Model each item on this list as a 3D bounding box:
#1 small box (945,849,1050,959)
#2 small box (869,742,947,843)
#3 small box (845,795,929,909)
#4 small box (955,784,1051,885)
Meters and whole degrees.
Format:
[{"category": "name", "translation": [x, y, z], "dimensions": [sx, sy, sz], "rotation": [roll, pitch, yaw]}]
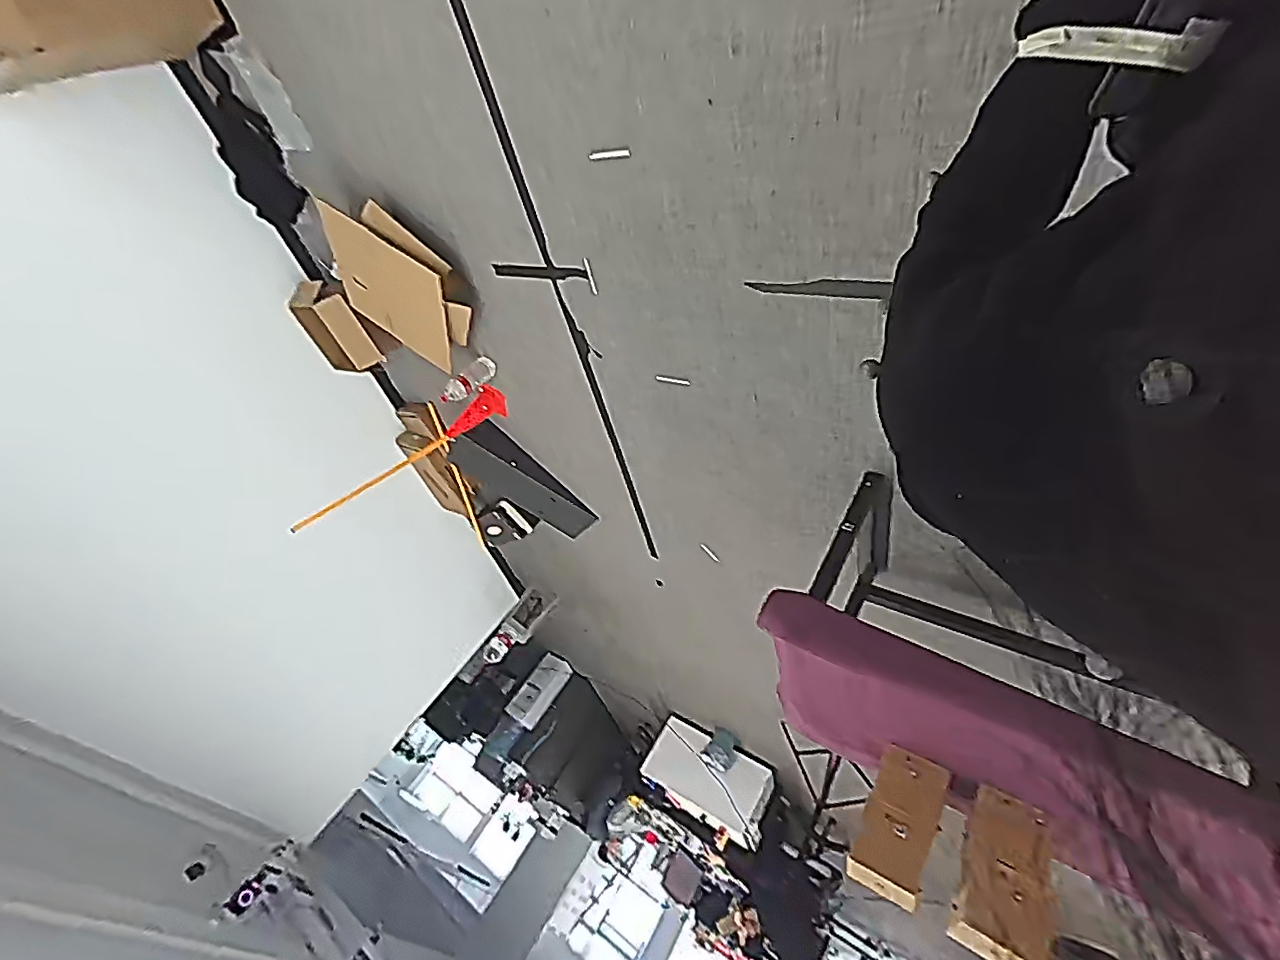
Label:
[{"category": "small box", "translation": [0.858, 1.035, 1.299], "dimensions": [0.168, 0.176, 0.179], "rotation": [18, 141, 31]}, {"category": "small box", "translation": [0.751, 0.881, 1.526], "dimensions": [0.168, 0.176, 0.179], "rotation": [16, 140, 32]}, {"category": "small box", "translation": [0.660, 0.989, 1.446], "dimensions": [0.168, 0.176, 0.179], "rotation": [14, 139, 34]}, {"category": "small box", "translation": [0.934, 0.921, 1.389], "dimensions": [0.168, 0.176, 0.179], "rotation": [16, 141, 33]}]
